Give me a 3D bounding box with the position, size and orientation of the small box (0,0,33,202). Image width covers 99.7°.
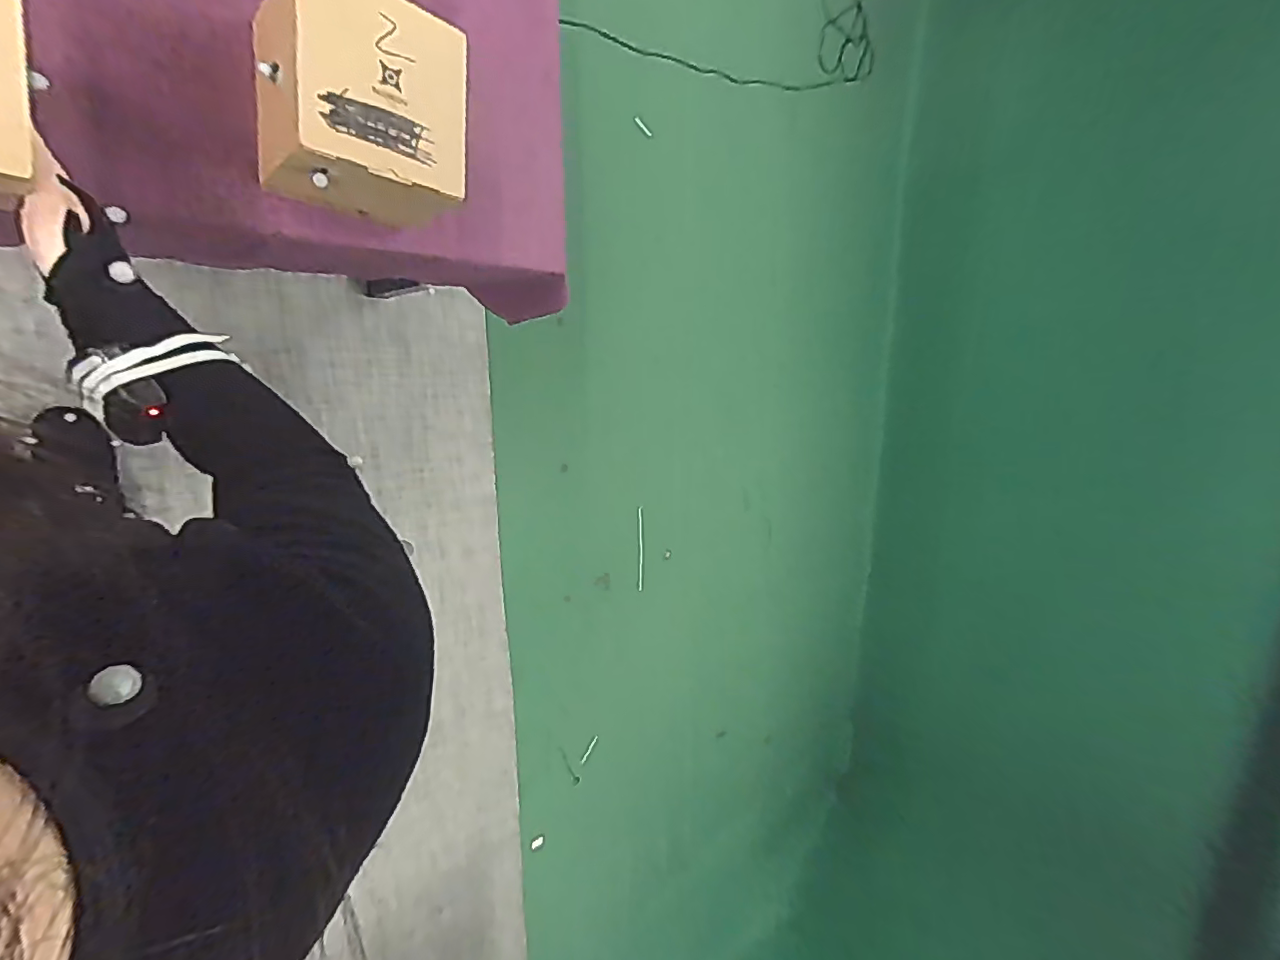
[{"bbox_3d":[-0.484,-0.284,0.311,0.168,0.176,0.179,-6,106,-50],"label":"small box"}]
